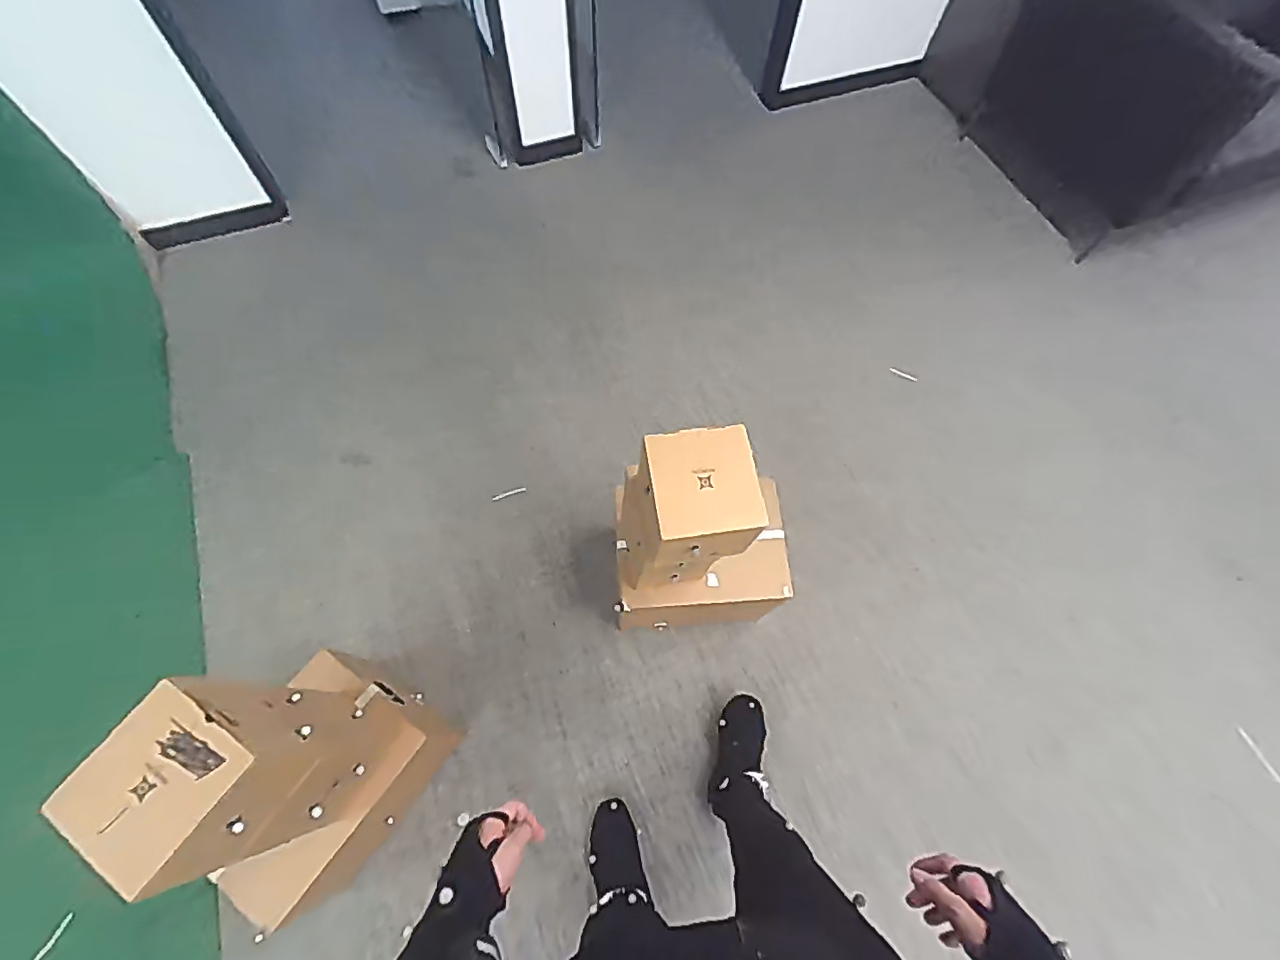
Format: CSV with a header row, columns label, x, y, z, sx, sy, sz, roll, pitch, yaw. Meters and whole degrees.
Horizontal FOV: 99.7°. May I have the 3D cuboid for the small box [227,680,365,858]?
label,x,y,z,sx,sy,sz,roll,pitch,yaw
small box,-0.583,0.444,0.853,0.179,0.176,0.168,35,69,12

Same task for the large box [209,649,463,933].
label,x,y,z,sx,sy,sz,roll,pitch,yaw
large box,-0.673,0.647,1.206,0.320,0.320,0.408,33,69,13

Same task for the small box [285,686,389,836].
label,x,y,z,sx,sy,sz,roll,pitch,yaw
small box,-0.597,0.508,1.001,0.168,0.176,0.179,33,68,12

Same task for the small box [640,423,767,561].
label,x,y,z,sx,sy,sz,roll,pitch,yaw
small box,0.094,0.029,0.894,0.168,0.176,0.179,-7,67,-6

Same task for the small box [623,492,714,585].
label,x,y,z,sx,sy,sz,roll,pitch,yaw
small box,0.056,0.129,1.205,0.168,0.176,0.179,-9,67,-8

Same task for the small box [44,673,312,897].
label,x,y,z,sx,sy,sz,roll,pitch,yaw
small box,-0.570,0.377,0.704,0.168,0.176,0.179,33,70,12
